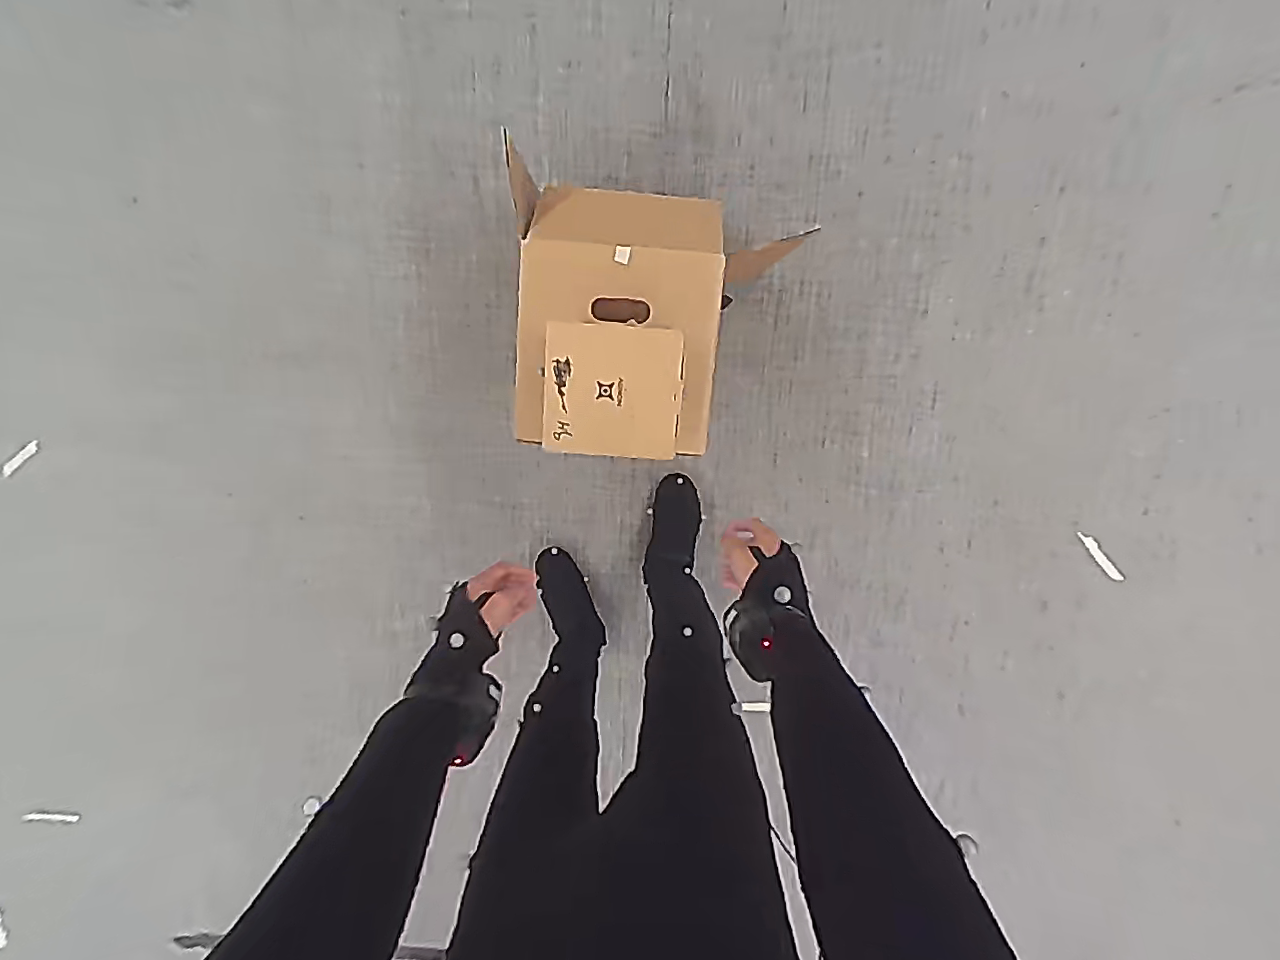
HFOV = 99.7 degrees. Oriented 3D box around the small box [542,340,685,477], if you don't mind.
[{"bbox_3d":[-0.035,-0.107,0.770,0.179,0.176,0.168,5,102,0],"label":"small box"}]
